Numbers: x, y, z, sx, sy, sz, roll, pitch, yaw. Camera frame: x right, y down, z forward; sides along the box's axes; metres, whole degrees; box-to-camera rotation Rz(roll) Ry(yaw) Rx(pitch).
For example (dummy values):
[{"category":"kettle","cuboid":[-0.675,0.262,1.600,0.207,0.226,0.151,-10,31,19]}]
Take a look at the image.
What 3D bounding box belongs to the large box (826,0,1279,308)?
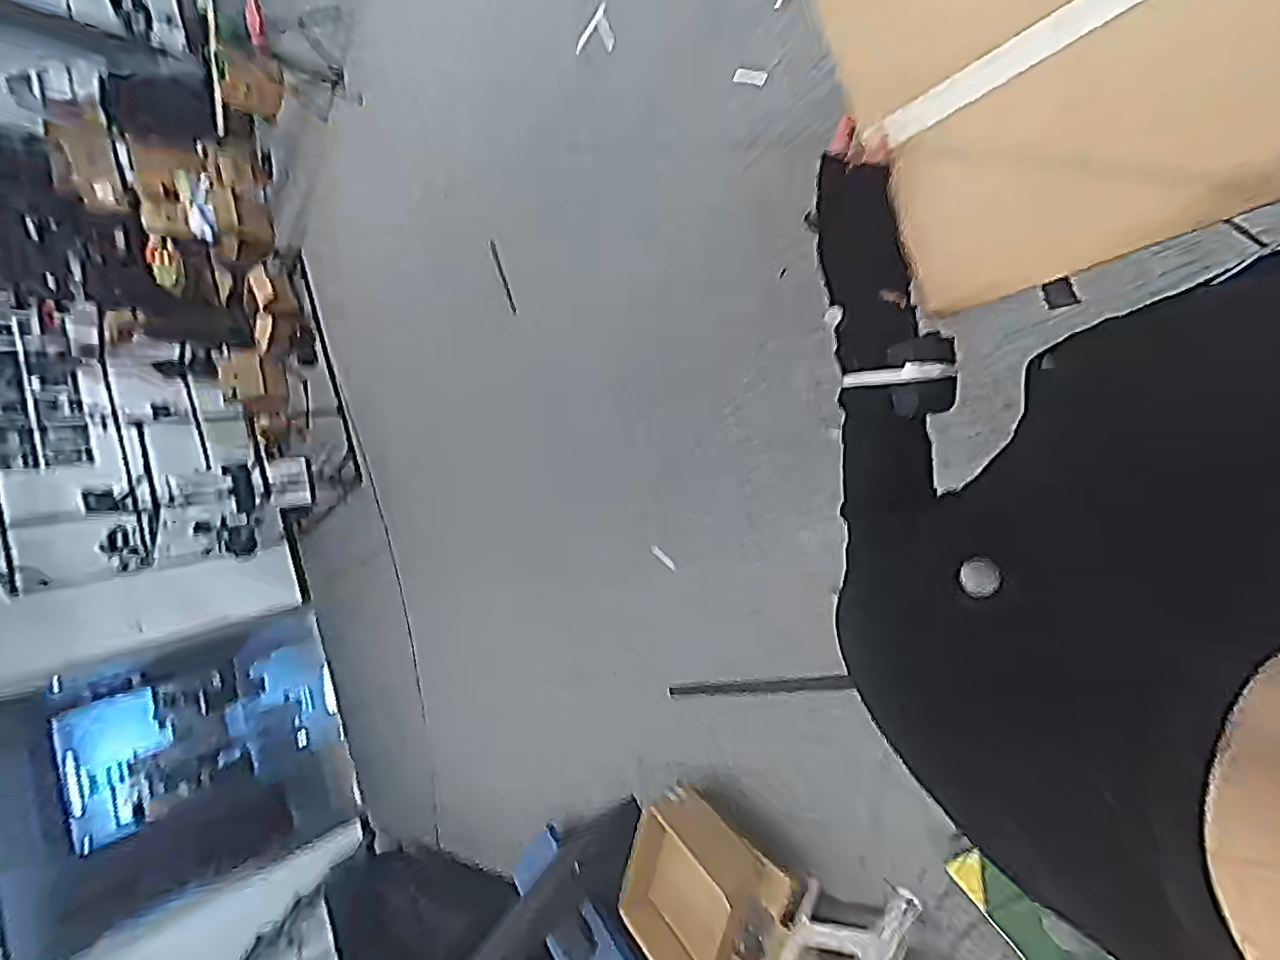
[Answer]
[{"category":"large box","cuboid":[0.417,-0.388,0.415,0.408,0.320,0.320,-14,111,44]}]
